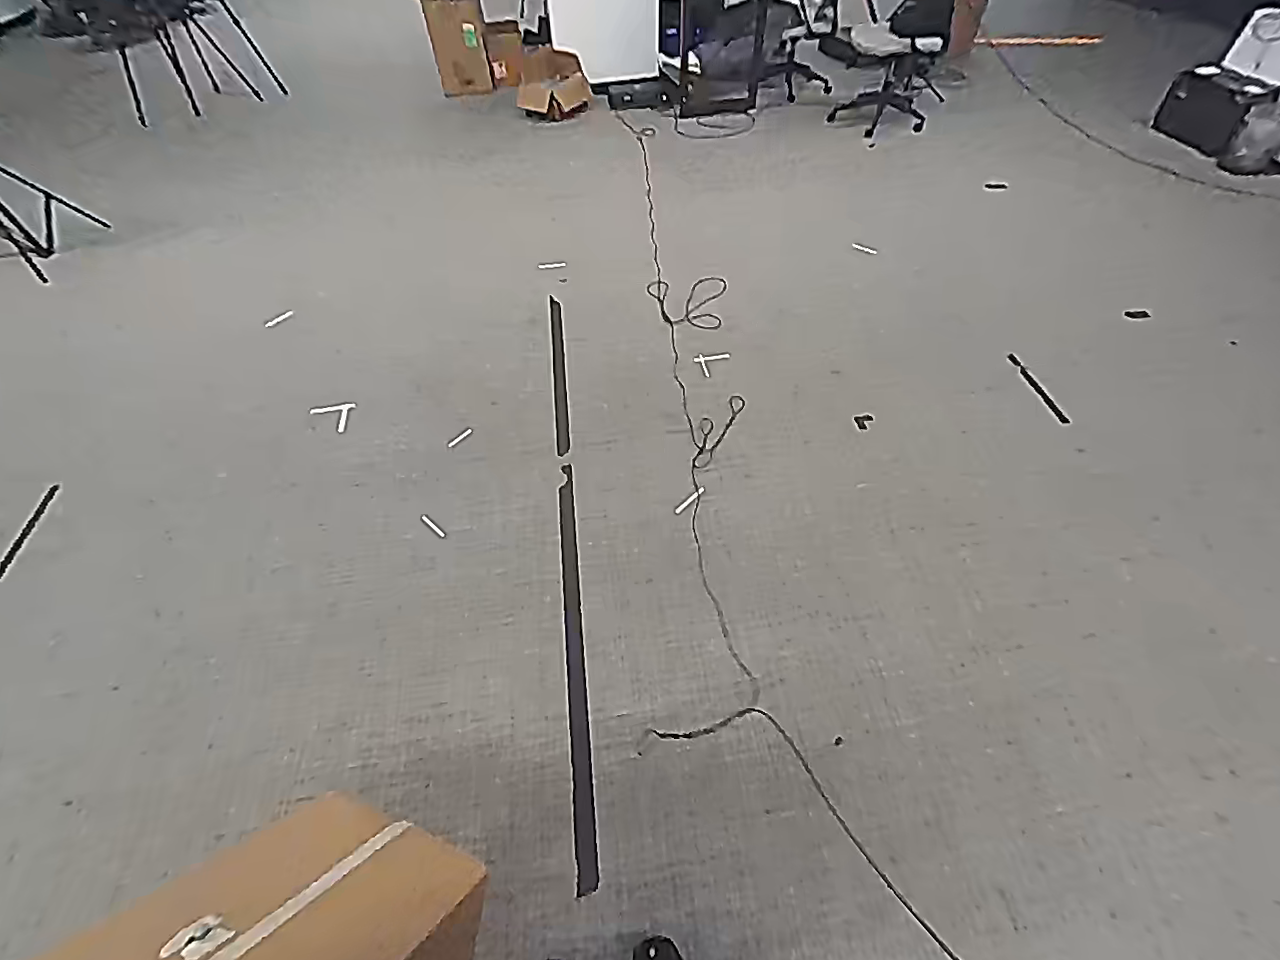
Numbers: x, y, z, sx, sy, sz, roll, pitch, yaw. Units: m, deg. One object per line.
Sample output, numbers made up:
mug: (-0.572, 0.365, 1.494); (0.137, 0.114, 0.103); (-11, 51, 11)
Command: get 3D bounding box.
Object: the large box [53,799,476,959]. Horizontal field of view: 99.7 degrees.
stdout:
large box: (-0.467, 0.690, 0.658); (0.320, 0.408, 0.320); (11, 91, 19)
